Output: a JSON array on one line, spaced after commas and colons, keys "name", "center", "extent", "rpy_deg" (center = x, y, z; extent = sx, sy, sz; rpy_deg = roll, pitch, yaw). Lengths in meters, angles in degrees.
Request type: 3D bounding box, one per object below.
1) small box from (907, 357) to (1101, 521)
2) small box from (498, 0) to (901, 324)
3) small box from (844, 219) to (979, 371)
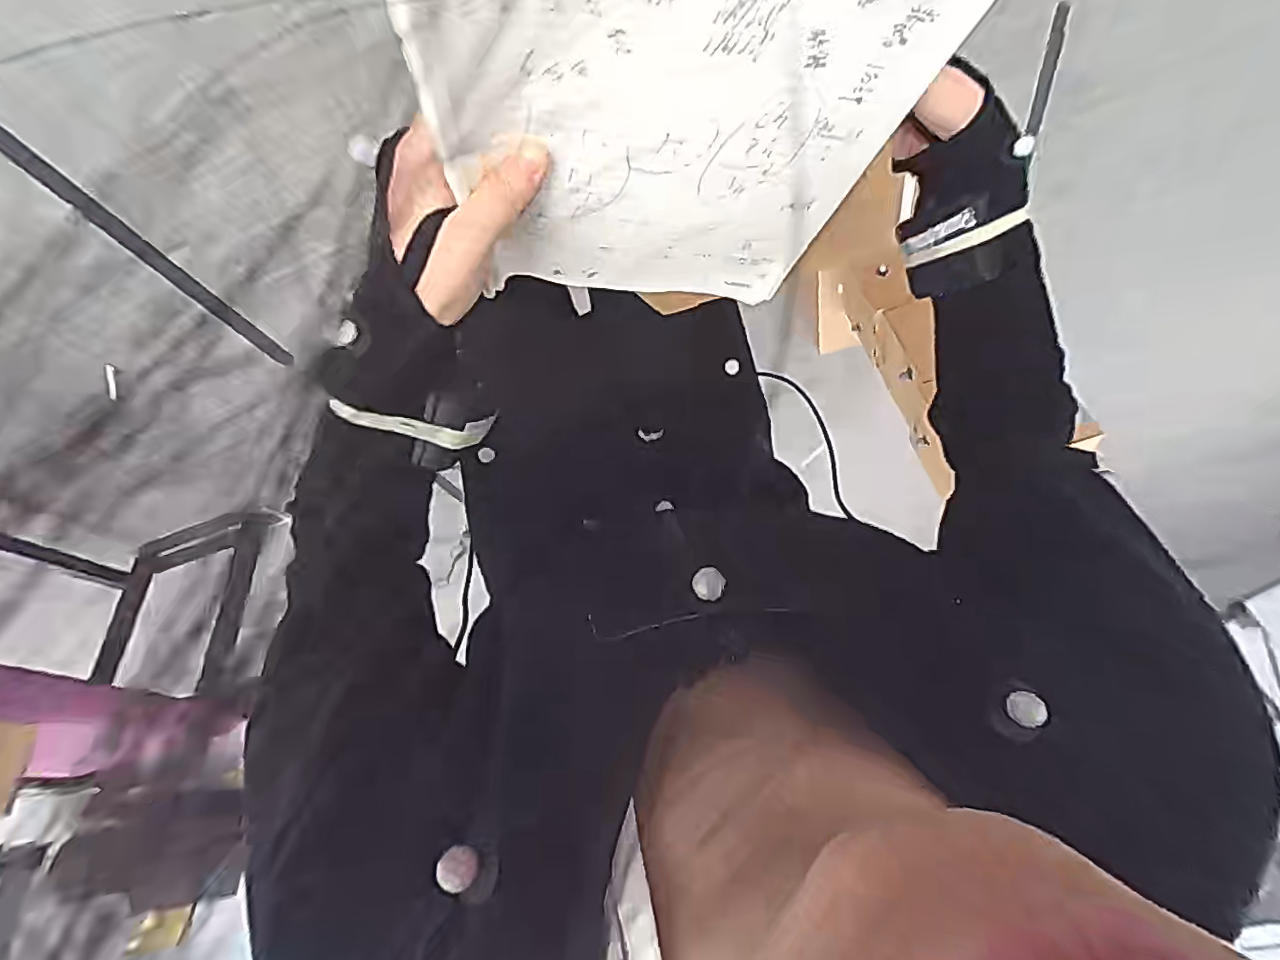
[{"name": "small box", "center": [0.545, -0.063, 0.841], "extent": [0.179, 0.176, 0.168], "rpy_deg": [-18, 147, 12]}, {"name": "small box", "center": [0.045, -0.219, 0.311], "extent": [0.168, 0.176, 0.179], "rpy_deg": [-4, 167, 33]}, {"name": "small box", "center": [0.489, -0.342, 1.006], "extent": [0.179, 0.176, 0.168], "rpy_deg": [-20, 148, 13]}]
